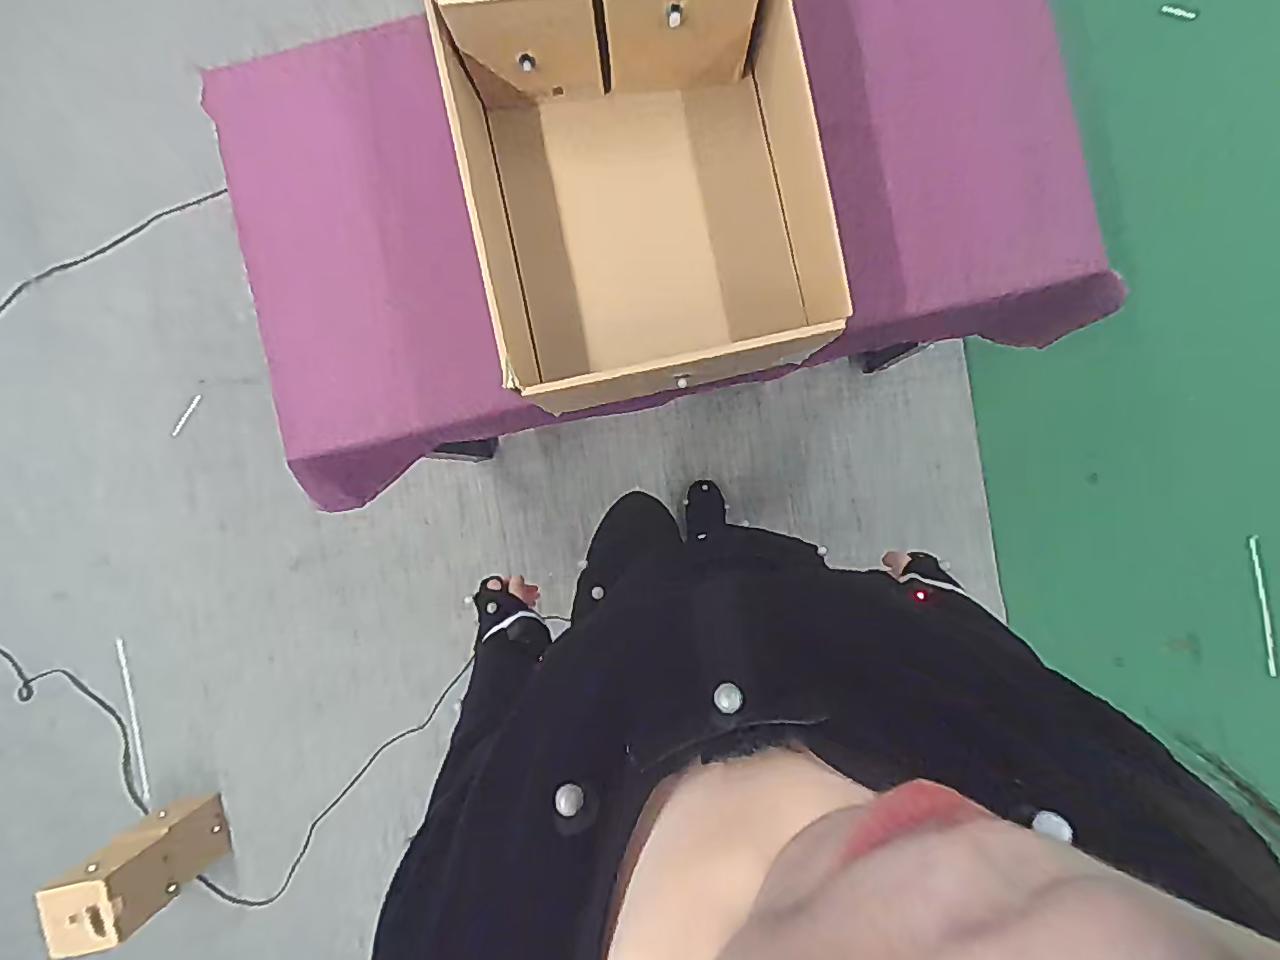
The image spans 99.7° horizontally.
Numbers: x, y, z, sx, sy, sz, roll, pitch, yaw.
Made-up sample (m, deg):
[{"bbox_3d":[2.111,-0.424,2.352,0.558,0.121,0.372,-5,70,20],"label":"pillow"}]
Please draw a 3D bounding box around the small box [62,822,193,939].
[{"bbox_3d":[-1.293,1.012,1.382,0.179,0.176,0.168,-13,89,5],"label":"small box"}]
